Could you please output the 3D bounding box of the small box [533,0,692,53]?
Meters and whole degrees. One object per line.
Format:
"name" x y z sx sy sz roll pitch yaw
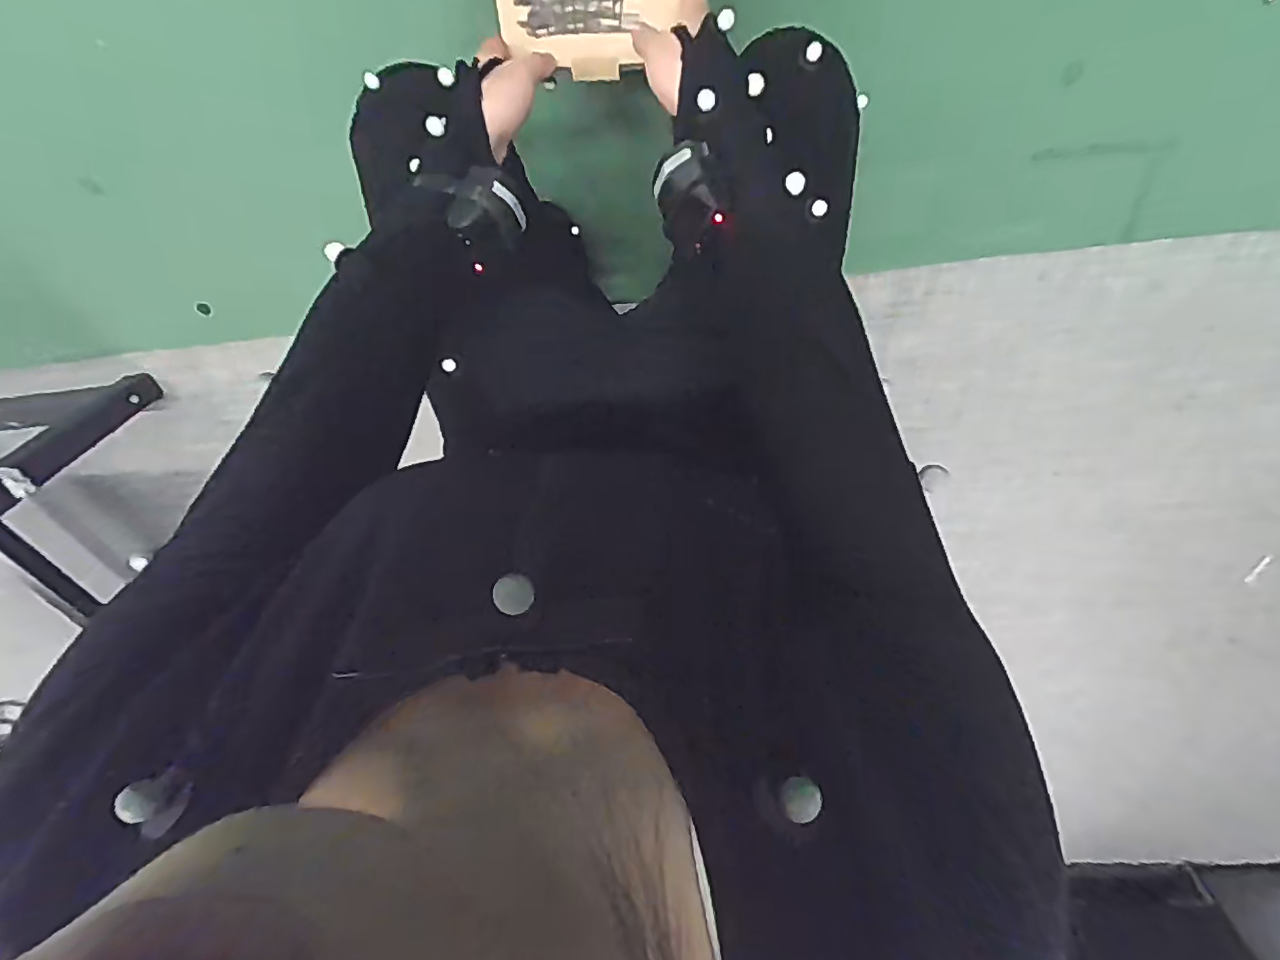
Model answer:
"small box" -0.031 -0.607 0.625 0.179 0.176 0.168 -1 130 3
